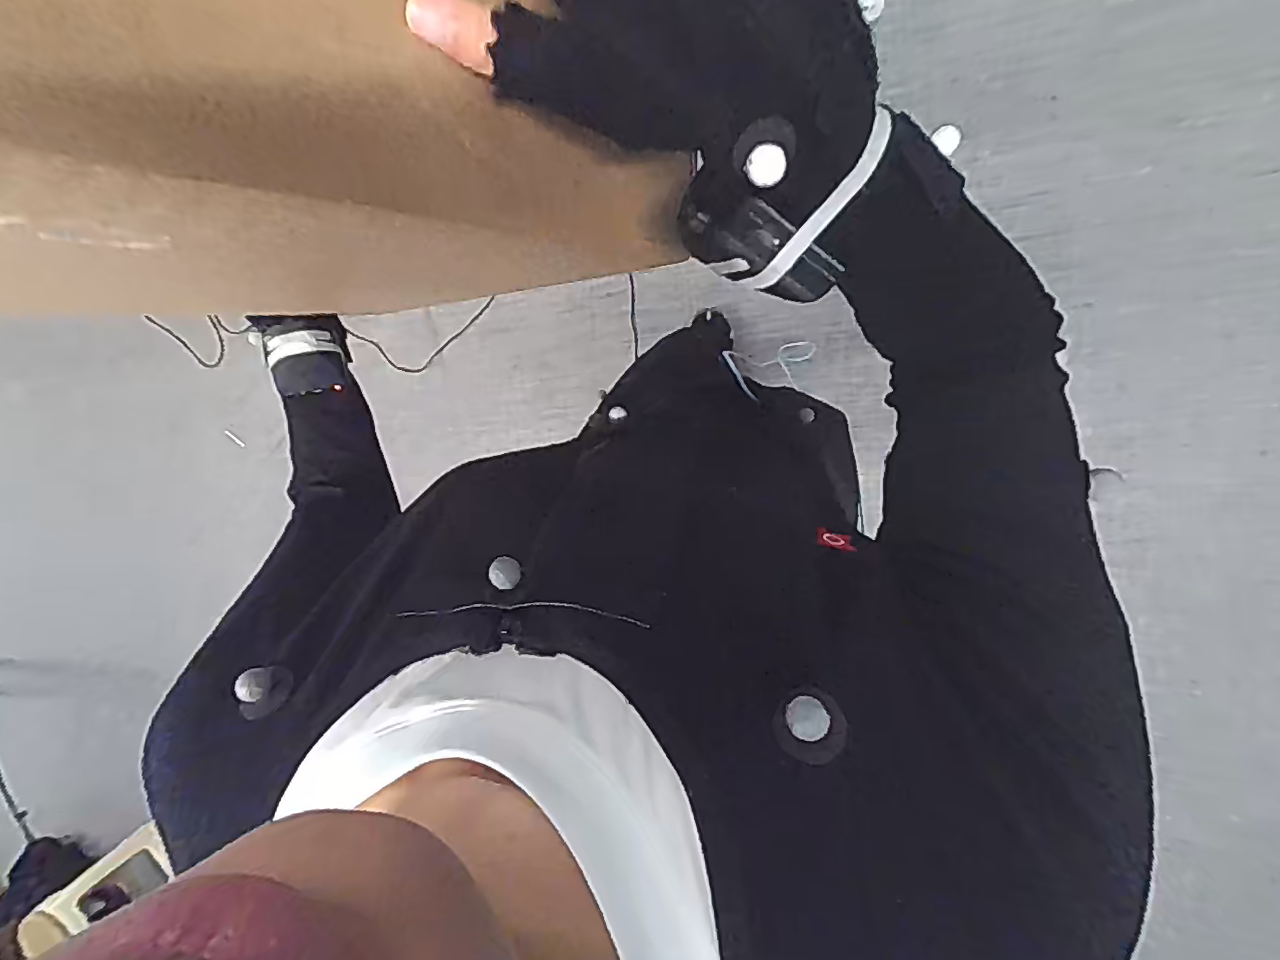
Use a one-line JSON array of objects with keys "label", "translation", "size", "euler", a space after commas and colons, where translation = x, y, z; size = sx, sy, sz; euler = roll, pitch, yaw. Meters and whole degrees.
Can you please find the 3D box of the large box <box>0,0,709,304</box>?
[{"label": "large box", "translation": [-0.213, -0.282, 0.295], "size": [0.408, 0.320, 0.320], "euler": [8, 108, 38]}]
